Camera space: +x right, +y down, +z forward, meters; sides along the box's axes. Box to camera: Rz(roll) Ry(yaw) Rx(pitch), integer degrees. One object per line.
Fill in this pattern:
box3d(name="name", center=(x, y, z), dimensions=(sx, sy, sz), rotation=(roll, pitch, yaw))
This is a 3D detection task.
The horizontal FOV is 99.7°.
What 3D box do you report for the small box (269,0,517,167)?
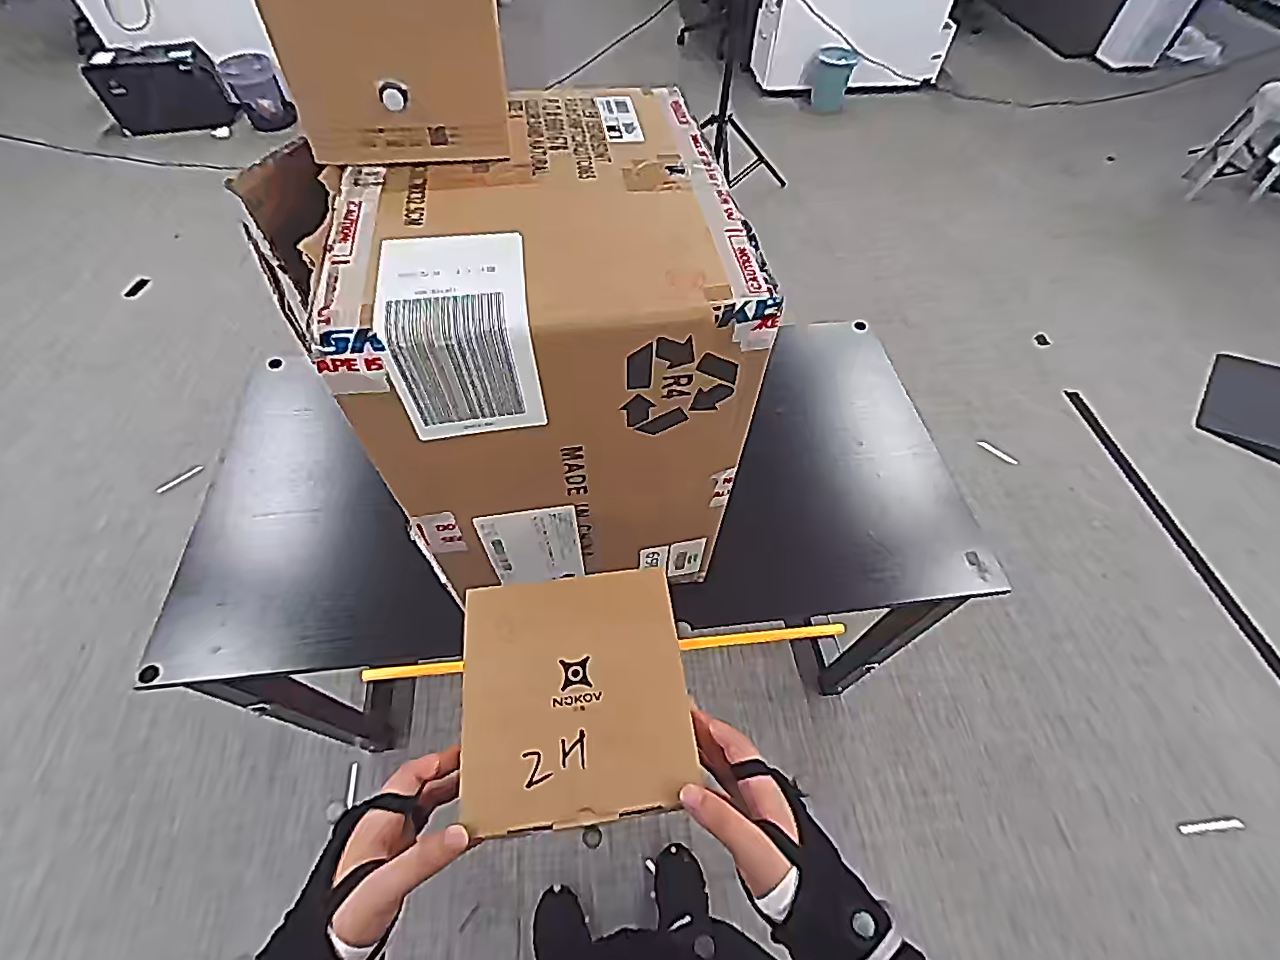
box3d(name="small box", center=(-0.201, -0.389, 0.457), dimensions=(0.168, 0.176, 0.179), rotation=(-8, 55, -10))
